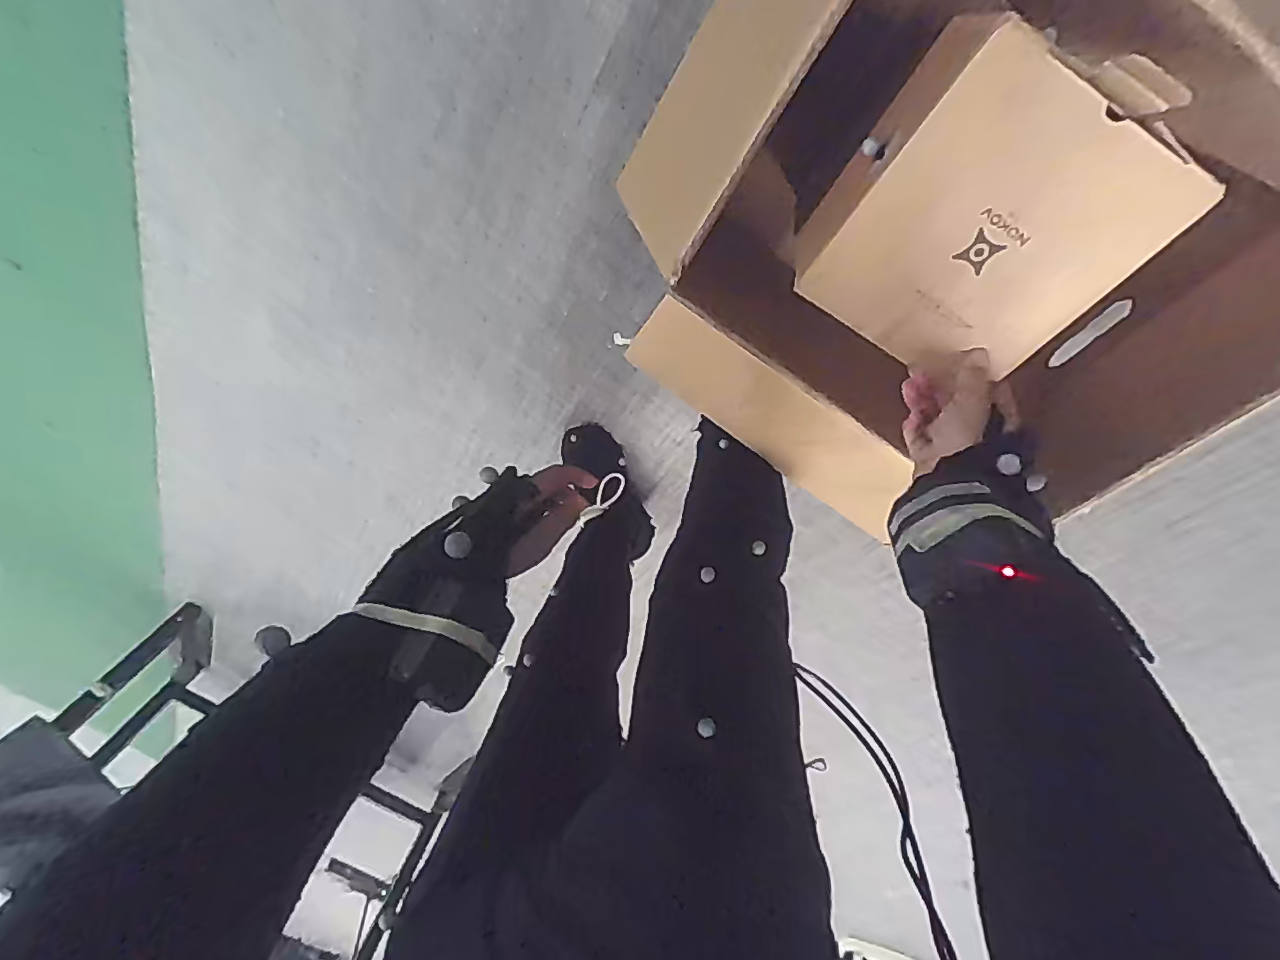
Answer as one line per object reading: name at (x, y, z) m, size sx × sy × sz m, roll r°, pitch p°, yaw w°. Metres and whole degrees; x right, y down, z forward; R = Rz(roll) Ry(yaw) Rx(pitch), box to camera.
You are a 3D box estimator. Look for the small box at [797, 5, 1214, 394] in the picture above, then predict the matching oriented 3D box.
small box at (0.237, -0.207, 0.408) m, size 0.168 × 0.176 × 0.179 m, roll 31°, pitch 131°, yaw -8°
